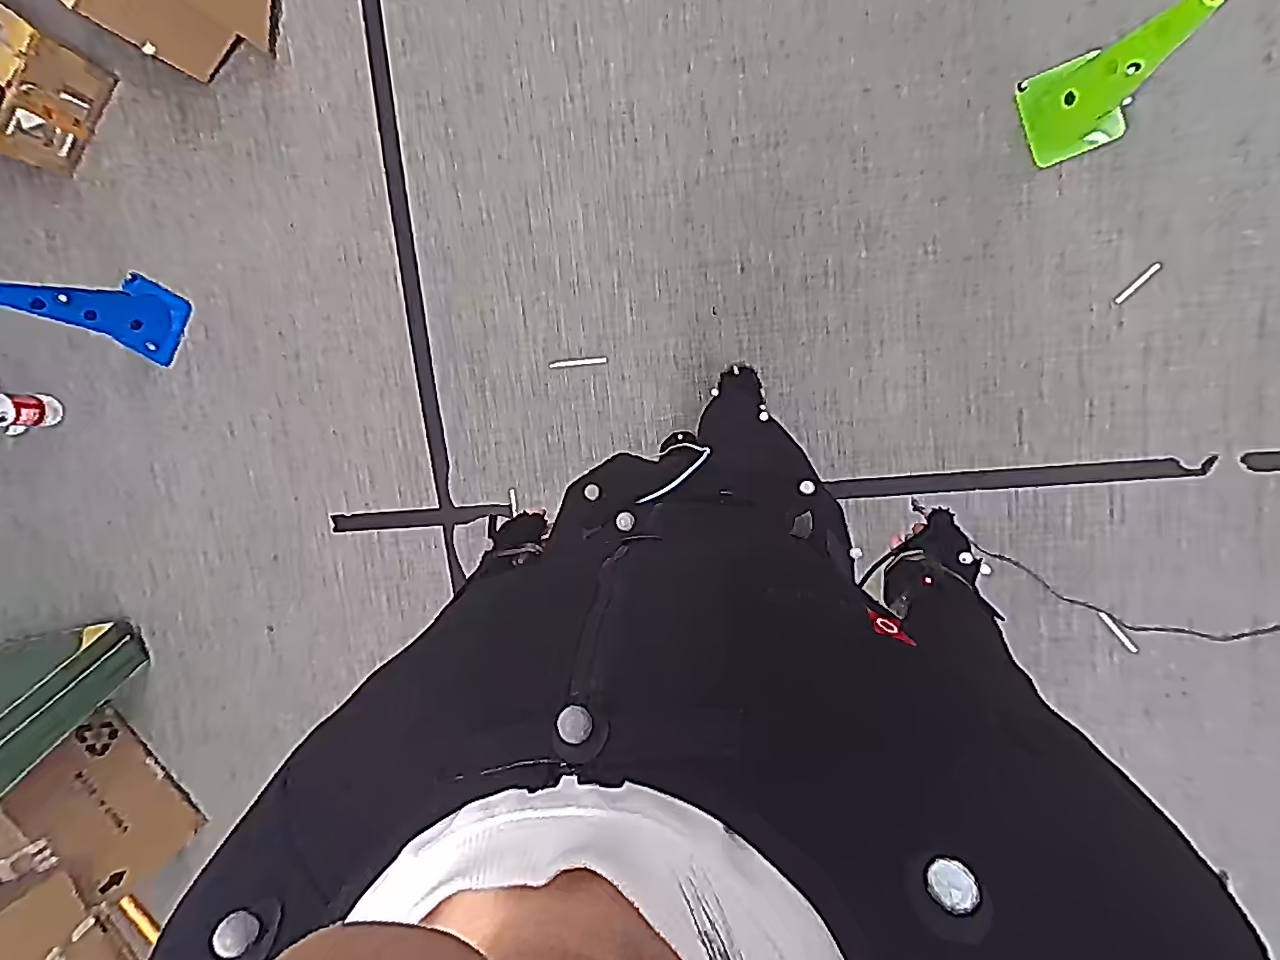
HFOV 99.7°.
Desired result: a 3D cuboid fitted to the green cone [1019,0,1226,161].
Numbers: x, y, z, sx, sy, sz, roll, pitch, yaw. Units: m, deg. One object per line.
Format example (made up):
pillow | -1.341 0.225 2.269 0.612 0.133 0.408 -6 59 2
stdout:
green cone | 0.974 -0.831 1.060 0.202 0.368 0.200 -21 95 6
